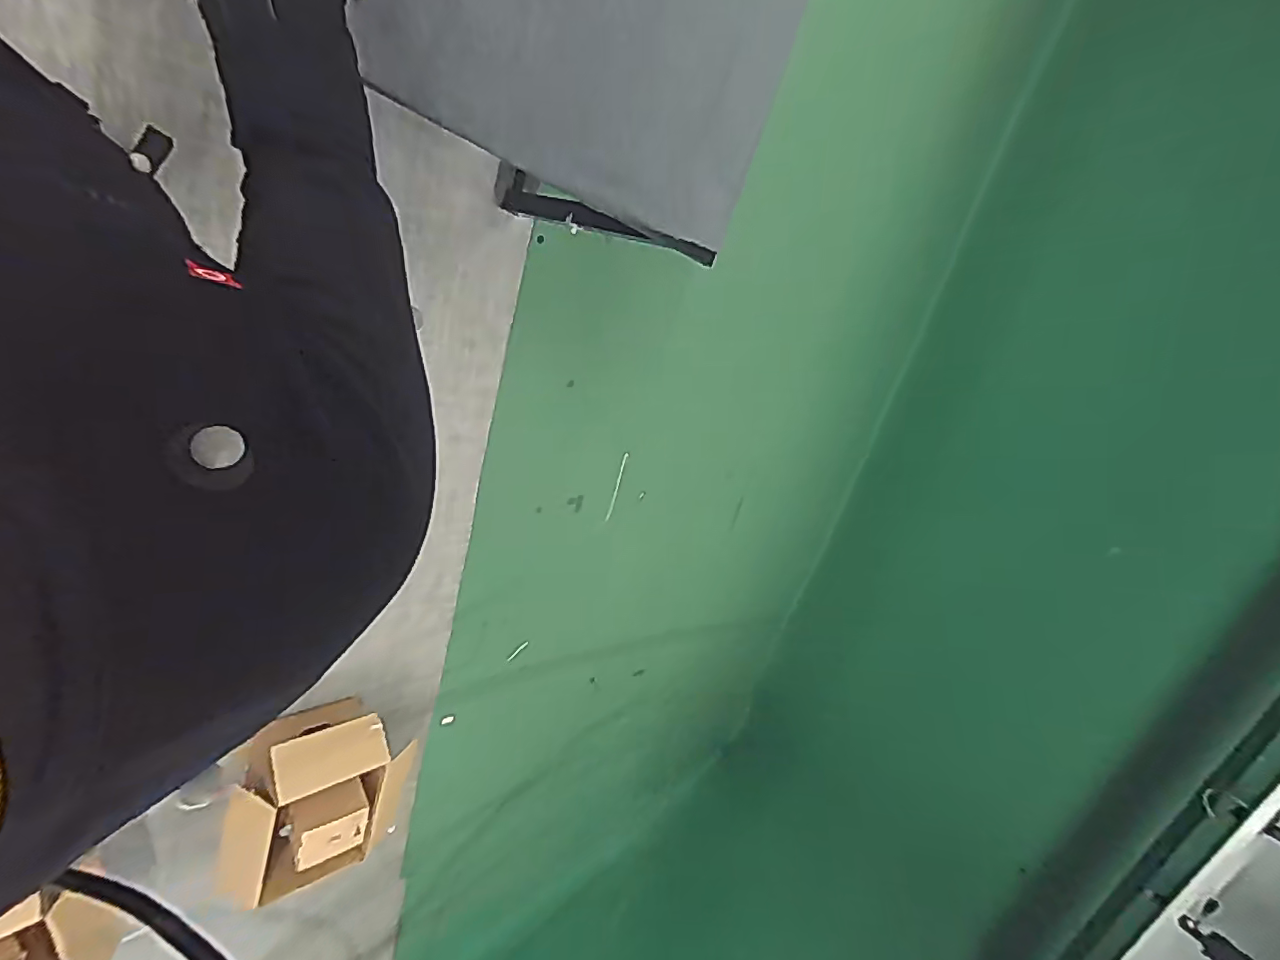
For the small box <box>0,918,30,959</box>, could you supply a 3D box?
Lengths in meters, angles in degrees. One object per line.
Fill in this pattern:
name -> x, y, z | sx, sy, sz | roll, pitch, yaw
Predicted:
small box -> -1.437, 1.090, 1.148 | 0.168, 0.176, 0.179 | -10, 120, -43
